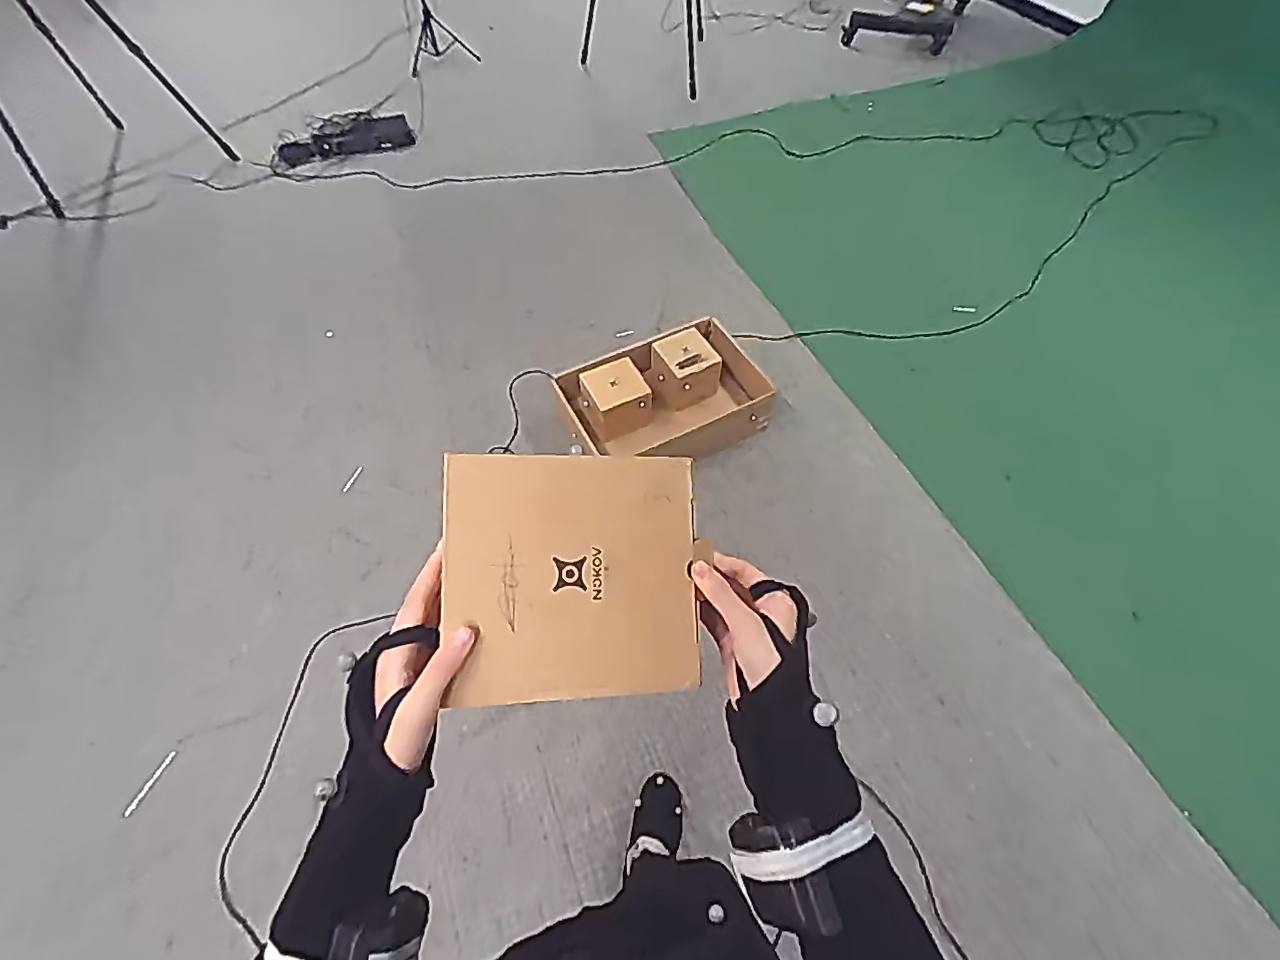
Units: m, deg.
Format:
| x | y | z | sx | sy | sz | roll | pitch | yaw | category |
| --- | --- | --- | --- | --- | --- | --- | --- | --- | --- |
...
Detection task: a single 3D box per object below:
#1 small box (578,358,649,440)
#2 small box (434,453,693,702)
| x | y | z | sx | sy | sz | roll | pitch | yaw | category |
| --- | --- | --- | --- | --- | --- | --- | --- | --- | --- |
| -0.083 | -0.255 | 1.735 | 0.179 | 0.176 | 0.168 | -23 | 62 | -15 | small box |
| -0.064 | 0.074 | 0.452 | 0.179 | 0.176 | 0.168 | 1 | 82 | -11 | small box |
